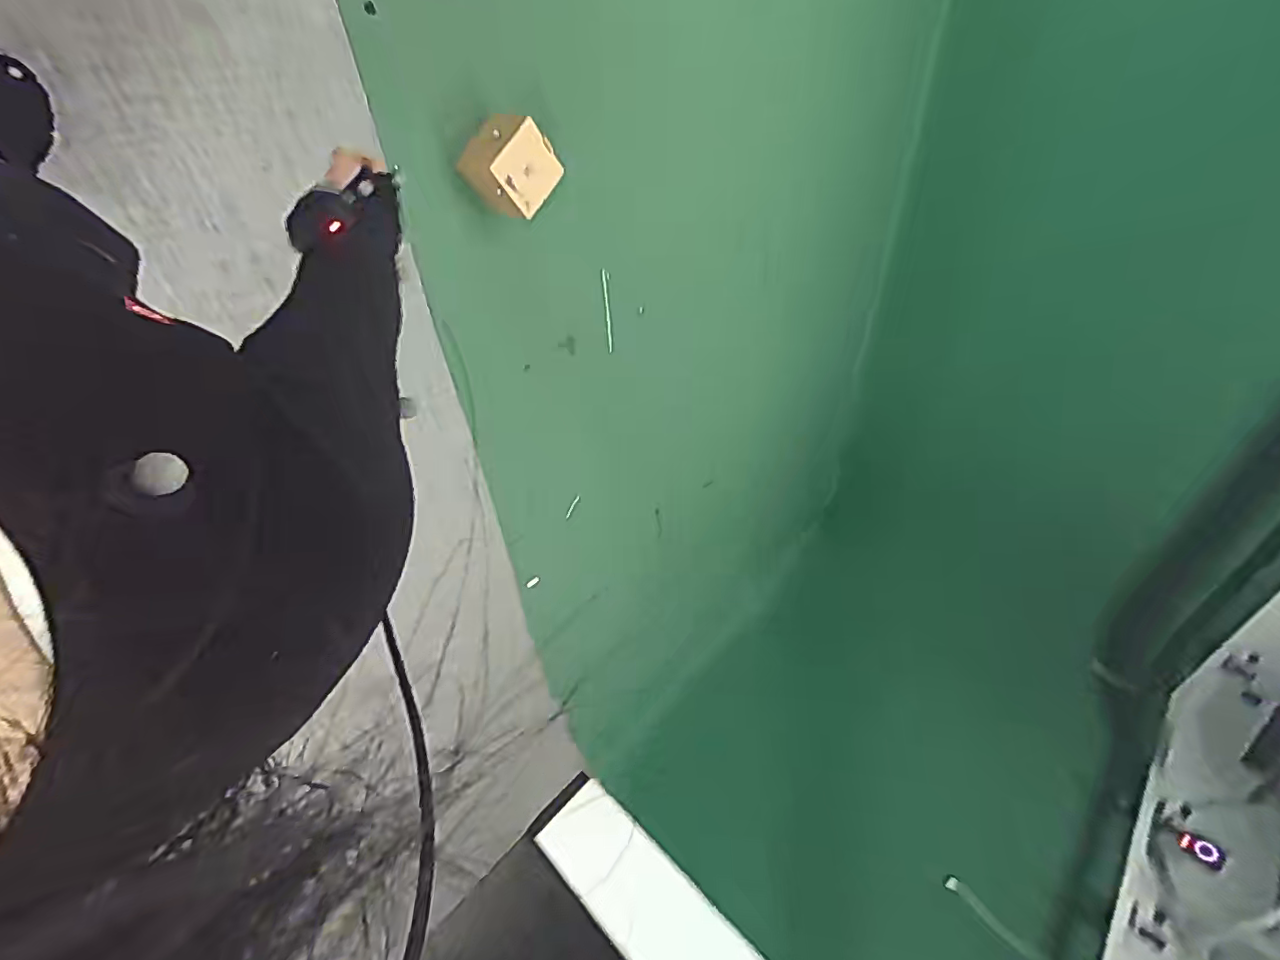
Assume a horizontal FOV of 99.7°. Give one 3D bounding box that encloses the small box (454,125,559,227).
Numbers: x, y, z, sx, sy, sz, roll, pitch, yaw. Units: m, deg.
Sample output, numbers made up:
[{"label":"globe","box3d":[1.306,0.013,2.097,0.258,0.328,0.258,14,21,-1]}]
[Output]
[{"label":"small box","box3d":[-0.357,-0.813,1.440,0.179,0.176,0.168,-57,145,-7]}]
